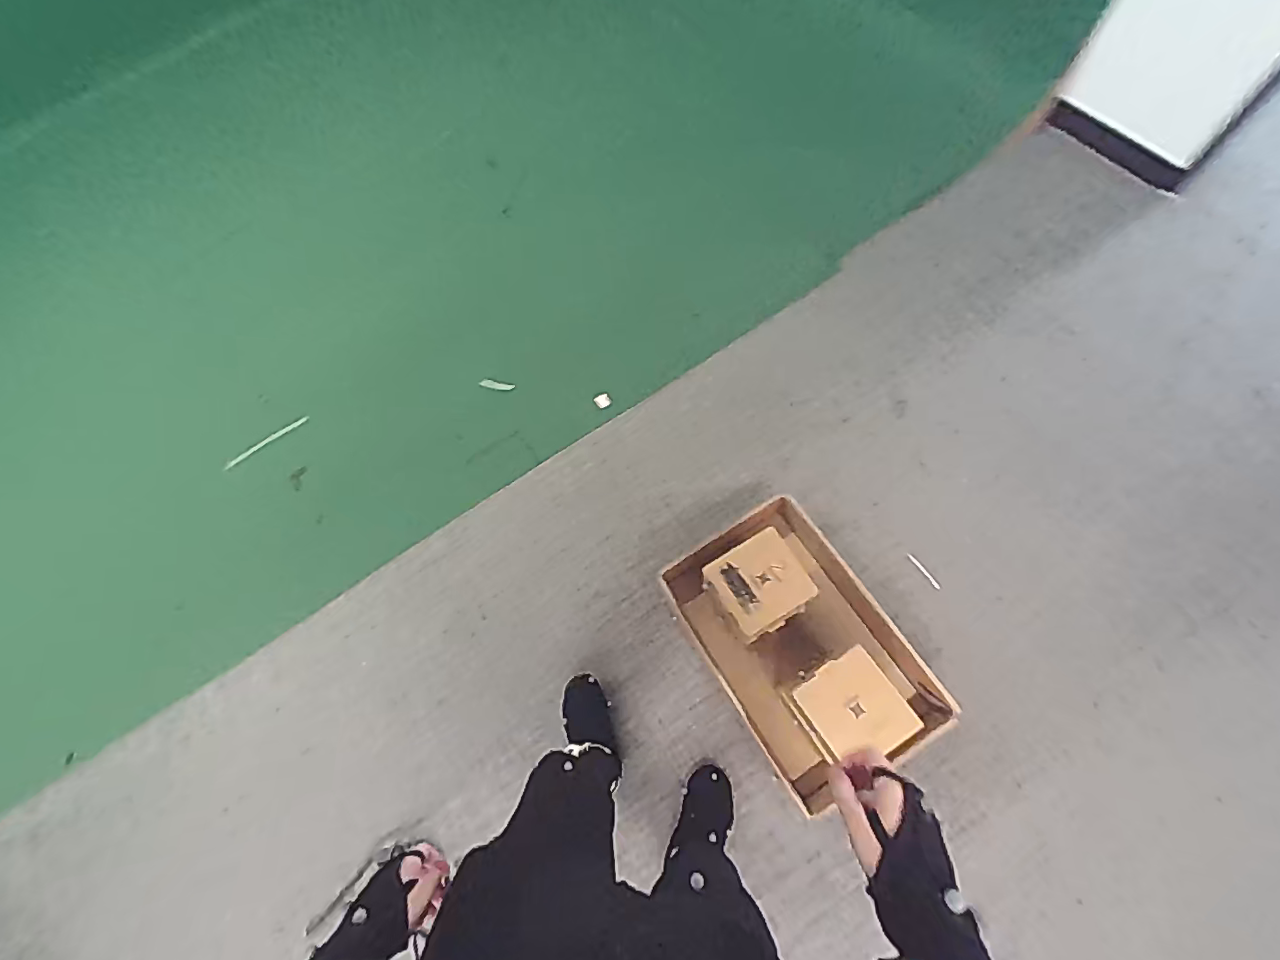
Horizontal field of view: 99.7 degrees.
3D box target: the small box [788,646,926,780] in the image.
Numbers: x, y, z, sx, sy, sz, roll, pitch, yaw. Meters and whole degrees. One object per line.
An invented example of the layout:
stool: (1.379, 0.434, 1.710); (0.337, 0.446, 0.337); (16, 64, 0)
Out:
small box: (0.412, 0.452, 1.065); (0.168, 0.176, 0.179); (-34, 68, -3)
